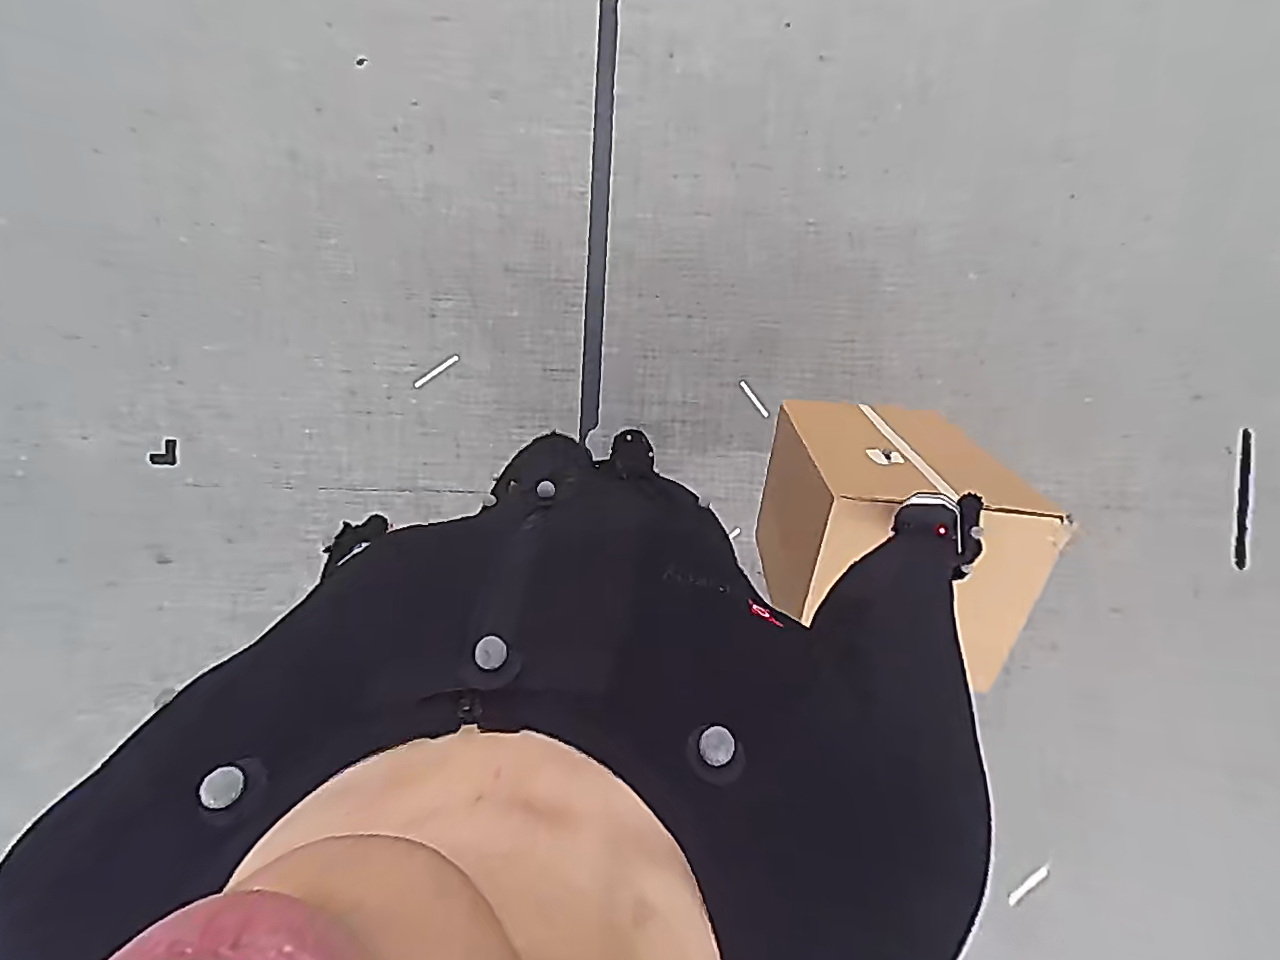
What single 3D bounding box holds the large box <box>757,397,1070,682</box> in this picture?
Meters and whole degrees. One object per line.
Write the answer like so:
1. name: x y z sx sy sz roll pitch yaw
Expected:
1. large box: 0.410 0.079 0.953 0.320 0.408 0.320 6 118 1
